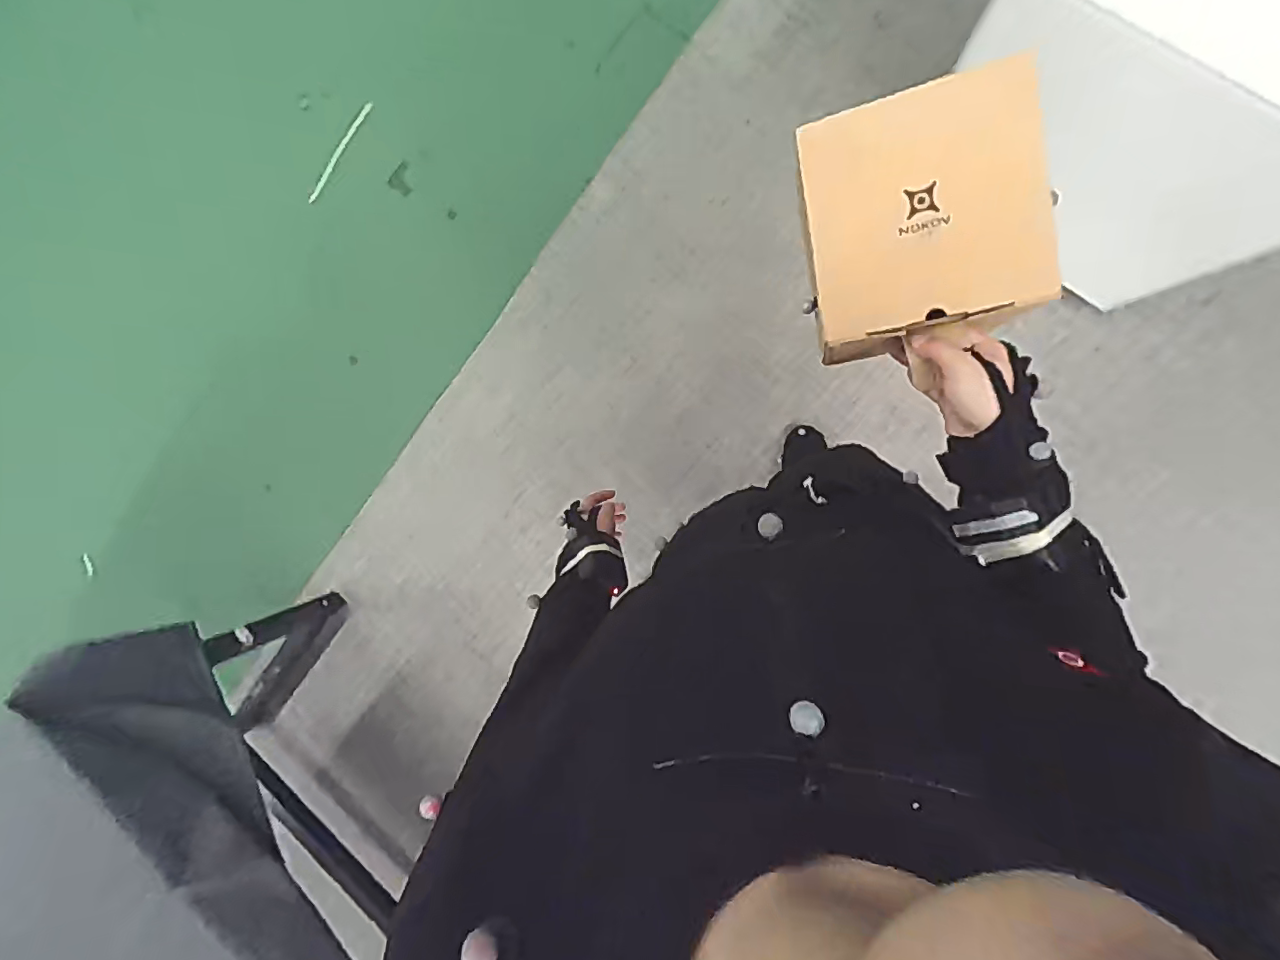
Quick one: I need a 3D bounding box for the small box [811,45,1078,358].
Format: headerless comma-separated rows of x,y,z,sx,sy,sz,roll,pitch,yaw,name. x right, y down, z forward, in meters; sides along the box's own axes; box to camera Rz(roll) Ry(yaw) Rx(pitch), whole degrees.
0.248,-0.218,0.482,0.168,0.176,0.179,-8,94,19,small box
